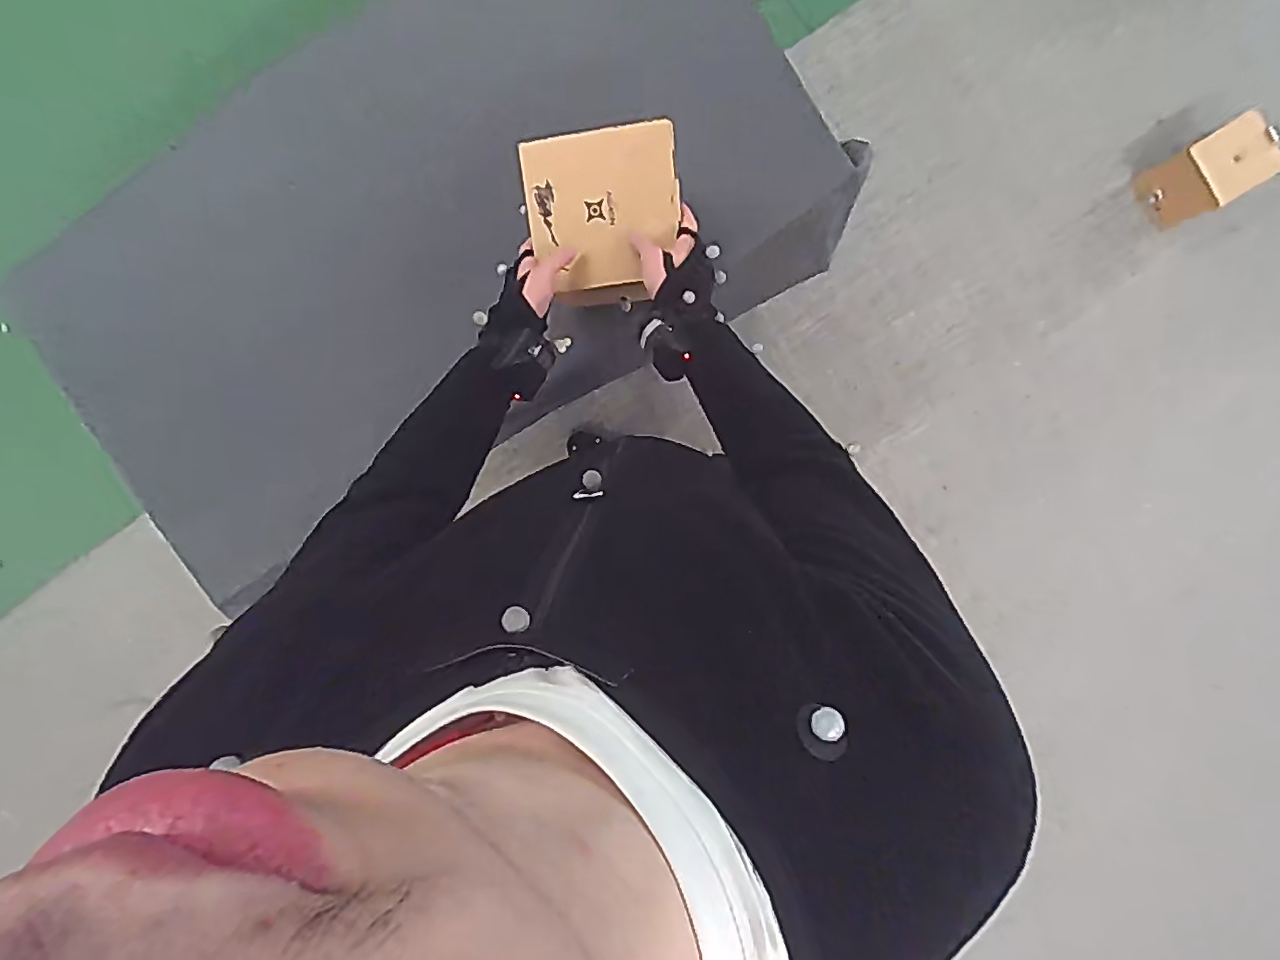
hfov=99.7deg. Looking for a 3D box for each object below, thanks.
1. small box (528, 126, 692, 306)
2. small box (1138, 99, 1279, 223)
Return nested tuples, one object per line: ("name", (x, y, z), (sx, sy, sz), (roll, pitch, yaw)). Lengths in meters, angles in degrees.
("small box", (-0.029, -0.323, 0.695), (0.179, 0.176, 0.168), (-5, 102, 5))
("small box", (1.419, -0.781, 1.344), (0.179, 0.176, 0.168), (-31, 92, 5))
